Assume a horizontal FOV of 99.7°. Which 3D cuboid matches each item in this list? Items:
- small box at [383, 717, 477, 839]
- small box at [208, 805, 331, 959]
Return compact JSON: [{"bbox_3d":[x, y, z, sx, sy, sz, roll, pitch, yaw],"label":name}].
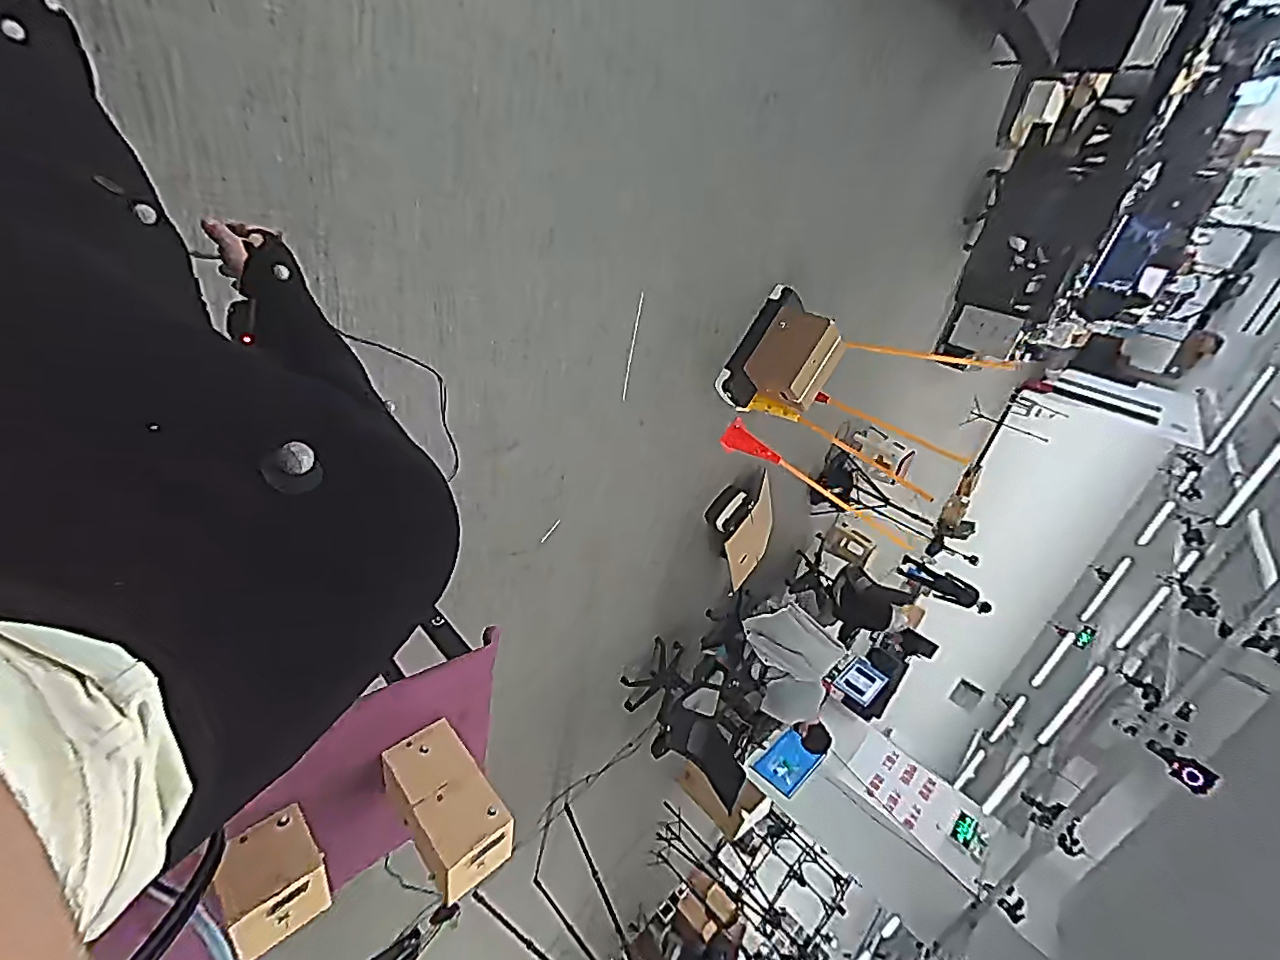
[{"bbox_3d":[-0.532,0.746,1.369,0.168,0.176,0.179,-20,131,-42],"label":"small box"},{"bbox_3d":[-0.776,0.830,1.137,0.168,0.176,0.179,-19,131,-42],"label":"small box"}]
